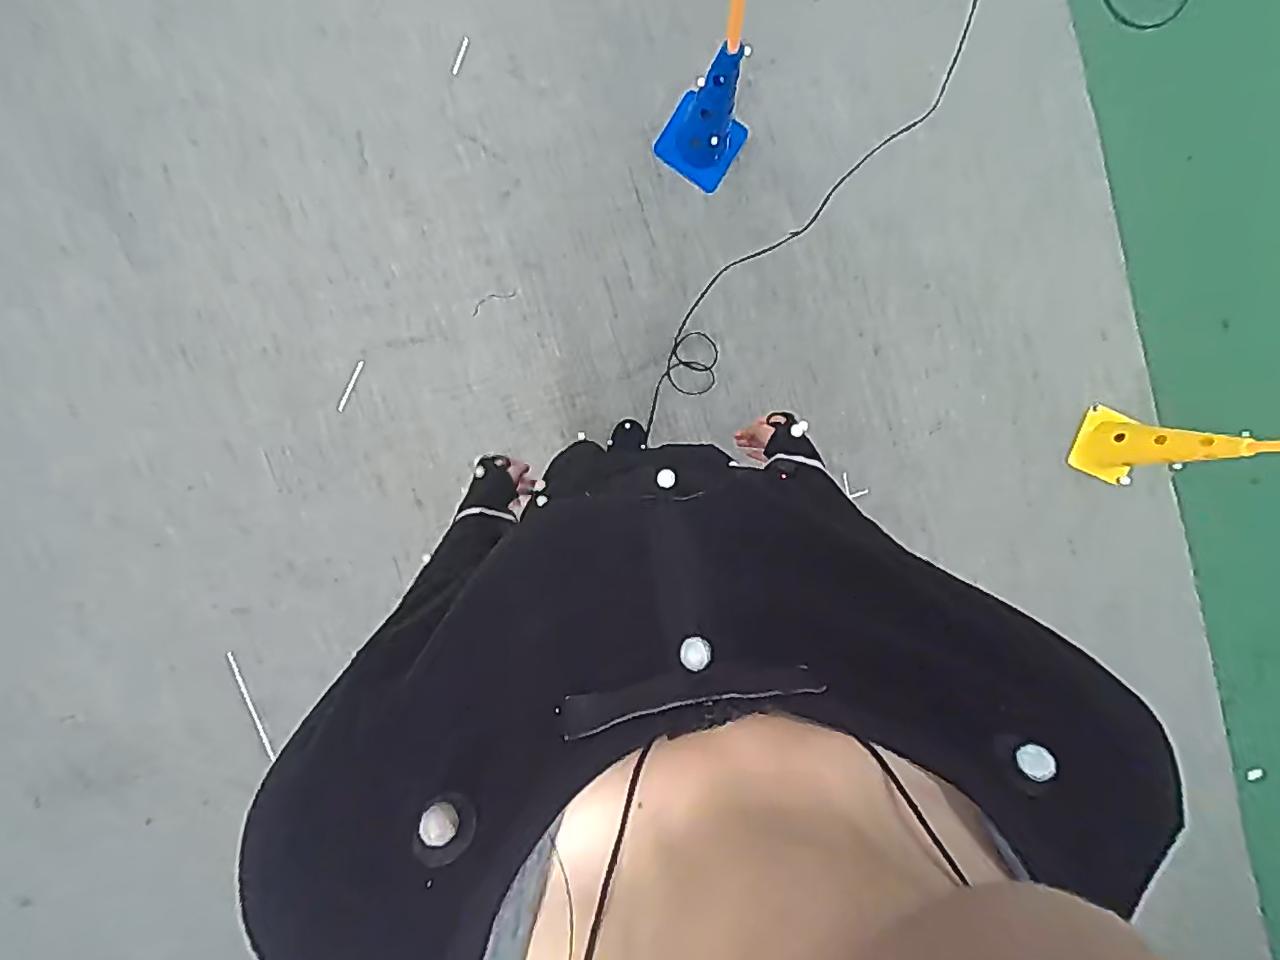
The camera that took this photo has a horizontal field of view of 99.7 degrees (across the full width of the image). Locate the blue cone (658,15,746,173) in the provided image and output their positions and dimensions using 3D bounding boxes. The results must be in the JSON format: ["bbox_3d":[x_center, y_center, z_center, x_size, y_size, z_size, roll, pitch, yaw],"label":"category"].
[{"bbox_3d":[0.172,-0.903,1.247,0.193,0.380,0.192,31,92,-6],"label":"blue cone"}]
